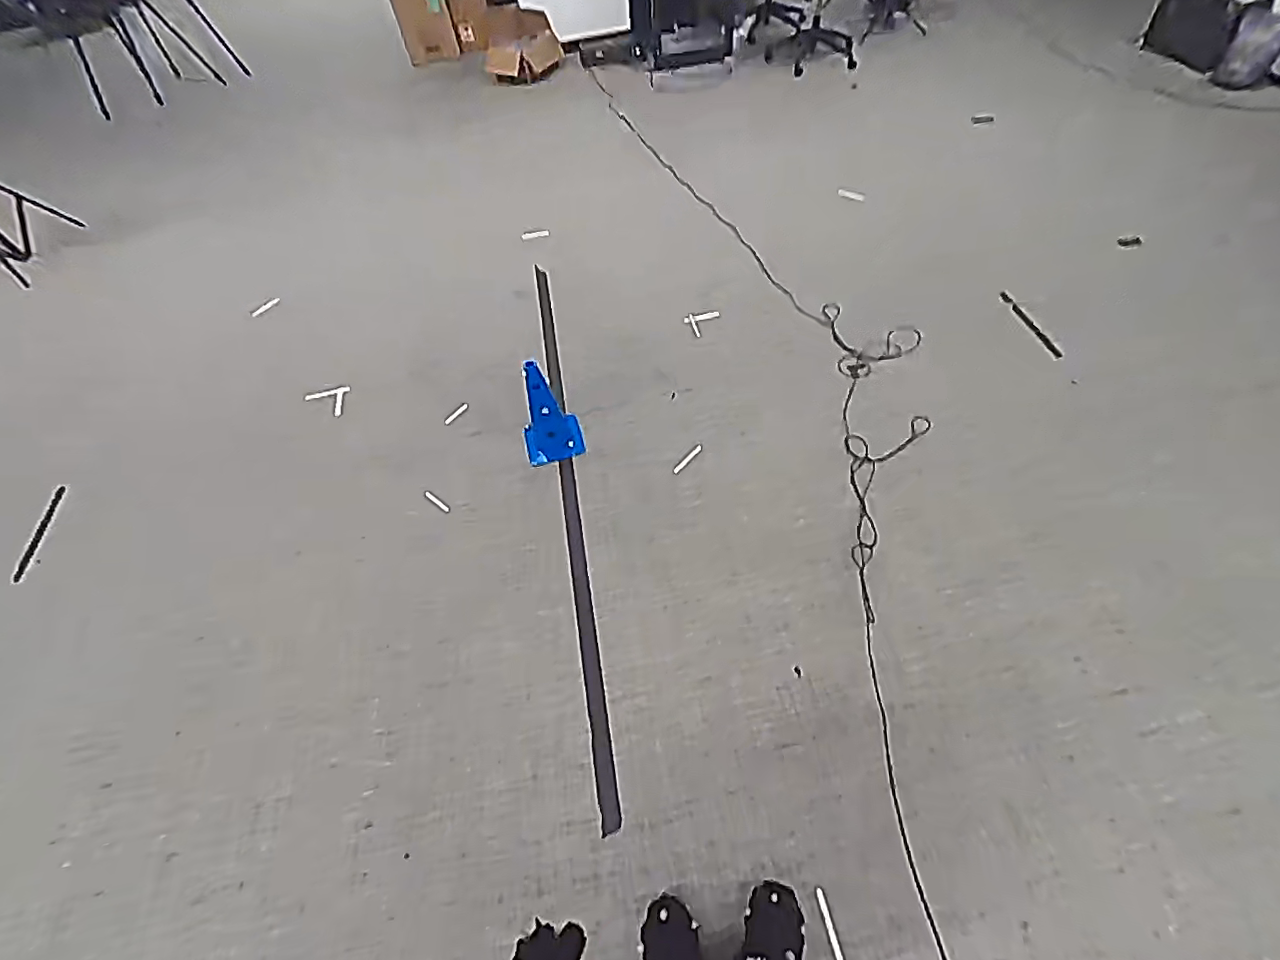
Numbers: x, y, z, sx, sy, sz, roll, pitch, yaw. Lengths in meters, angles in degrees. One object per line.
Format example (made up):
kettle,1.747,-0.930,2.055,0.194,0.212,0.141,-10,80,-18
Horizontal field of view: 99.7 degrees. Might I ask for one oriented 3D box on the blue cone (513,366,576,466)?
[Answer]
blue cone,-0.345,-0.234,1.805,0.192,0.380,0.193,-15,54,-4
